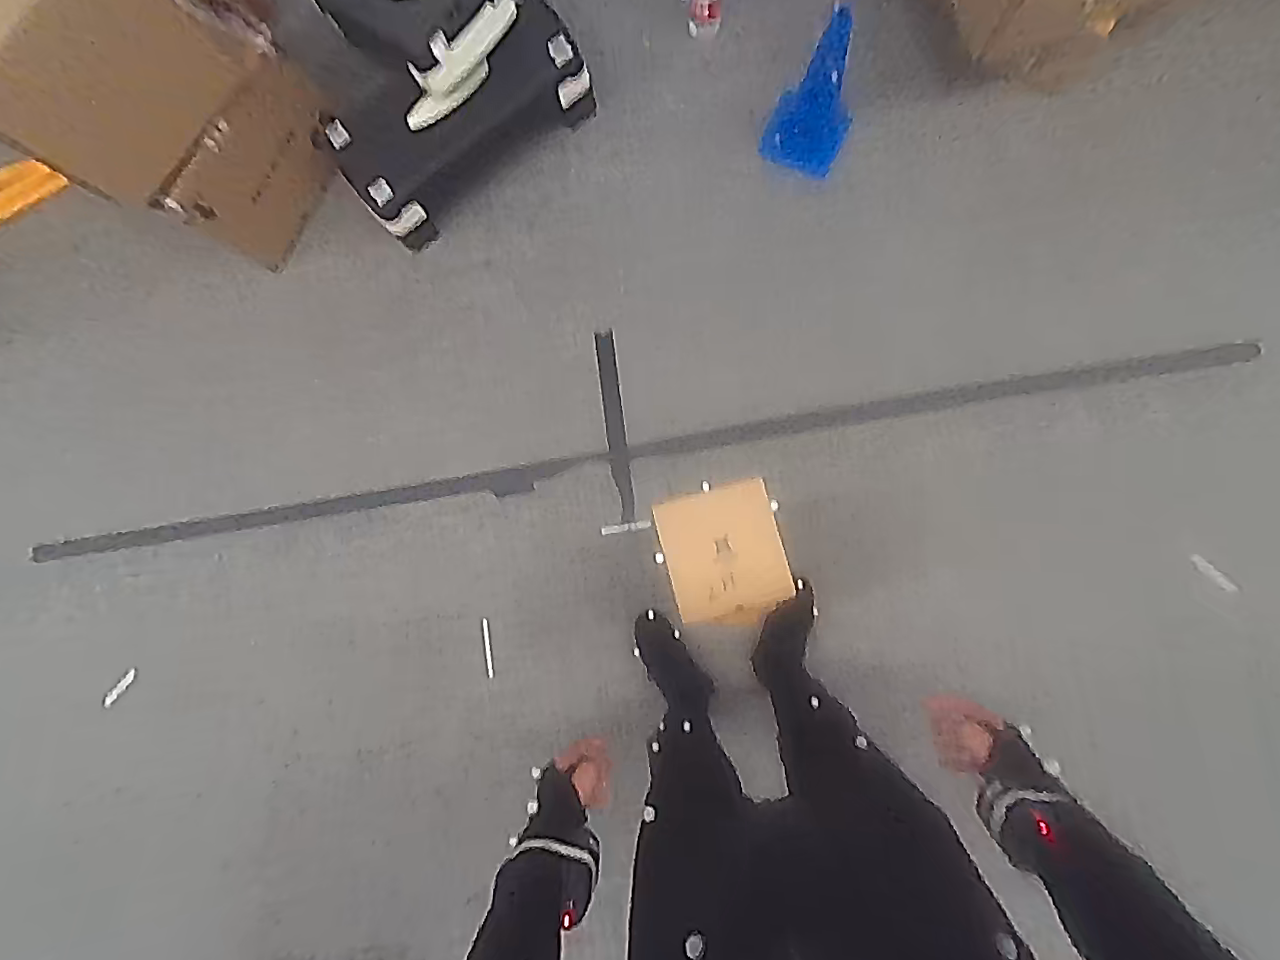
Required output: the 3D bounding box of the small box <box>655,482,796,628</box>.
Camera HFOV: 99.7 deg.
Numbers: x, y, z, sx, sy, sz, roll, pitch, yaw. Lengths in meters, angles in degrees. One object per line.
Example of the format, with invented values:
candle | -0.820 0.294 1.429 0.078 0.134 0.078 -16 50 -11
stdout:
small box | 0.125 0.112 0.843 0.168 0.176 0.179 -16 86 5
